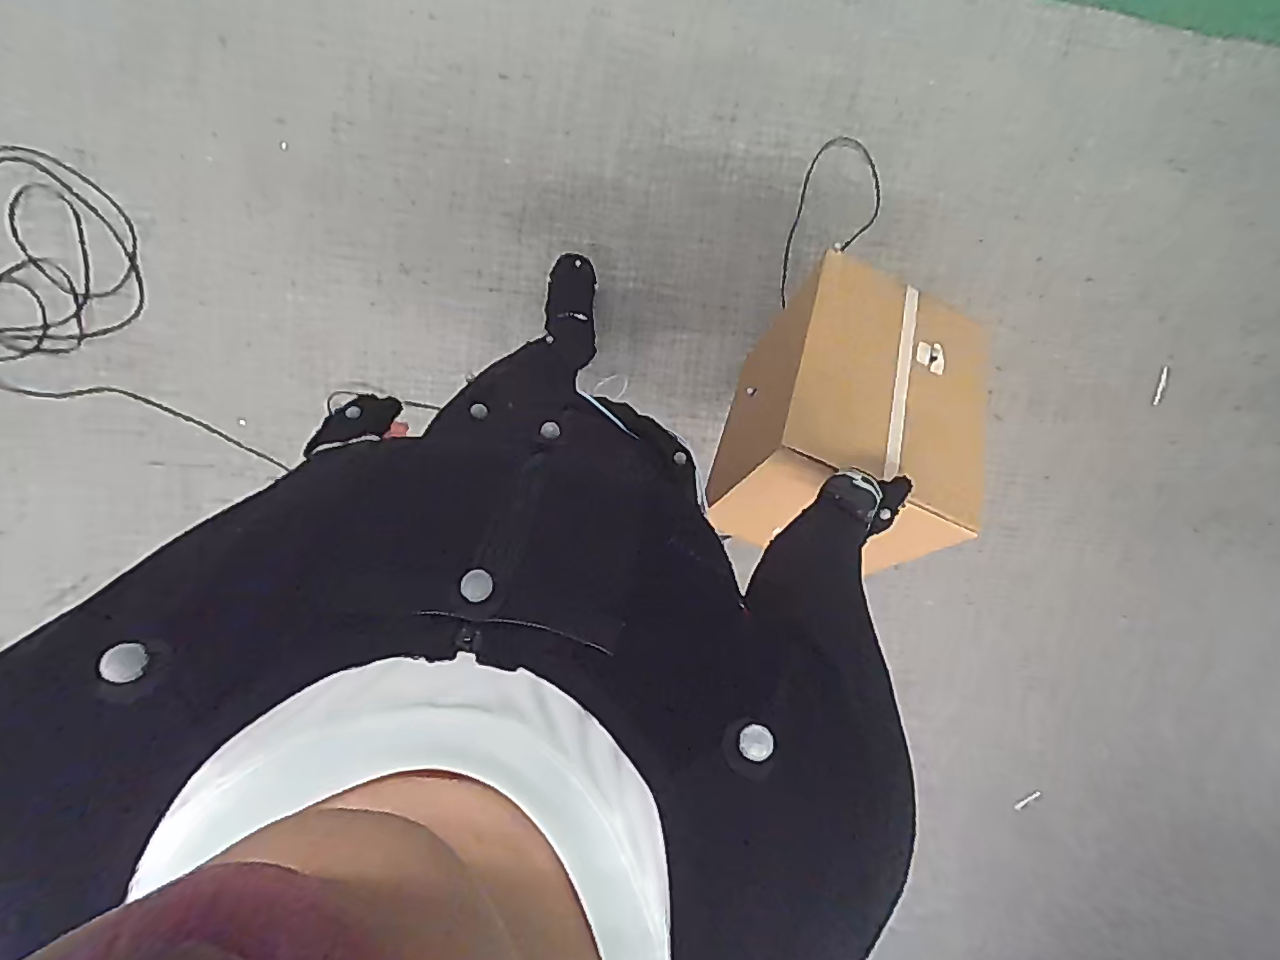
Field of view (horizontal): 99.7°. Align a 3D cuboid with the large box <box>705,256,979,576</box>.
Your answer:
[{"bbox_3d":[0.349,-0.093,0.960,0.320,0.320,0.408,24,62,-7],"label":"large box"}]
